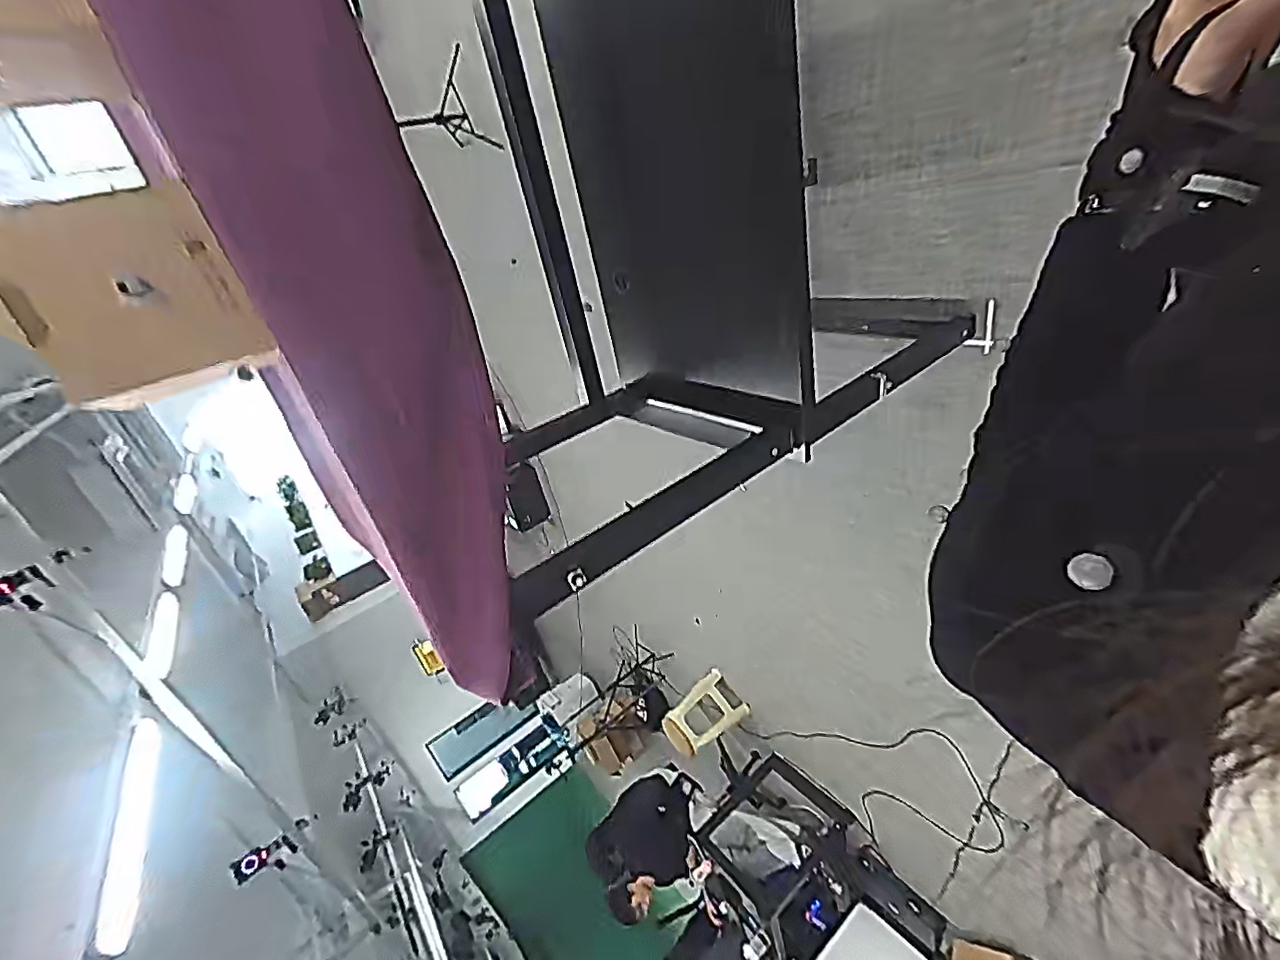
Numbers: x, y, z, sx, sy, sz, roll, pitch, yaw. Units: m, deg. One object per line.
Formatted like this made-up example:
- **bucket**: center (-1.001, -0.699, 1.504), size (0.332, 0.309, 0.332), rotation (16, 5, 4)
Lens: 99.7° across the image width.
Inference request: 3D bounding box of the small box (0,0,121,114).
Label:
- **small box**: center (-0.565, -0.408, 0.422), size (0.179, 0.176, 0.168), rotation (20, 132, 52)

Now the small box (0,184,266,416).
- **small box**: center (-0.504, -0.173, 0.541), size (0.179, 0.176, 0.168), rotation (11, 125, 55)
